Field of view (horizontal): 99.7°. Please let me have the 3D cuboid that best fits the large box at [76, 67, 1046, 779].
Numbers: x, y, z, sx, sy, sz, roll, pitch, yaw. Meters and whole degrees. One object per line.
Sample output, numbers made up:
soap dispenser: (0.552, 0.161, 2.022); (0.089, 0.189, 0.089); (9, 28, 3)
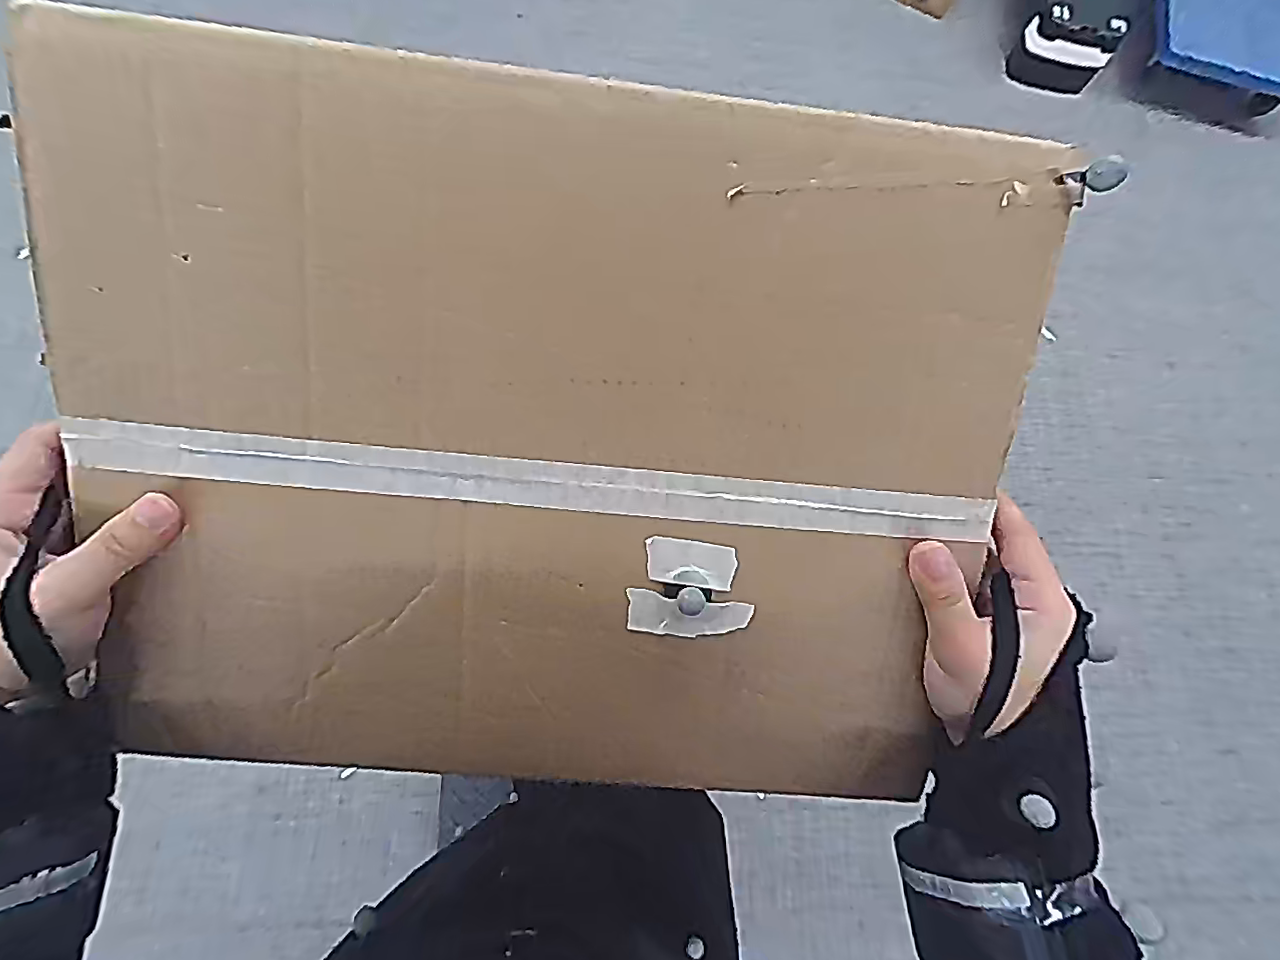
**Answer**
large box: (-0.043, -0.029, 0.397); (0.408, 0.320, 0.320); (5, 104, -4)
